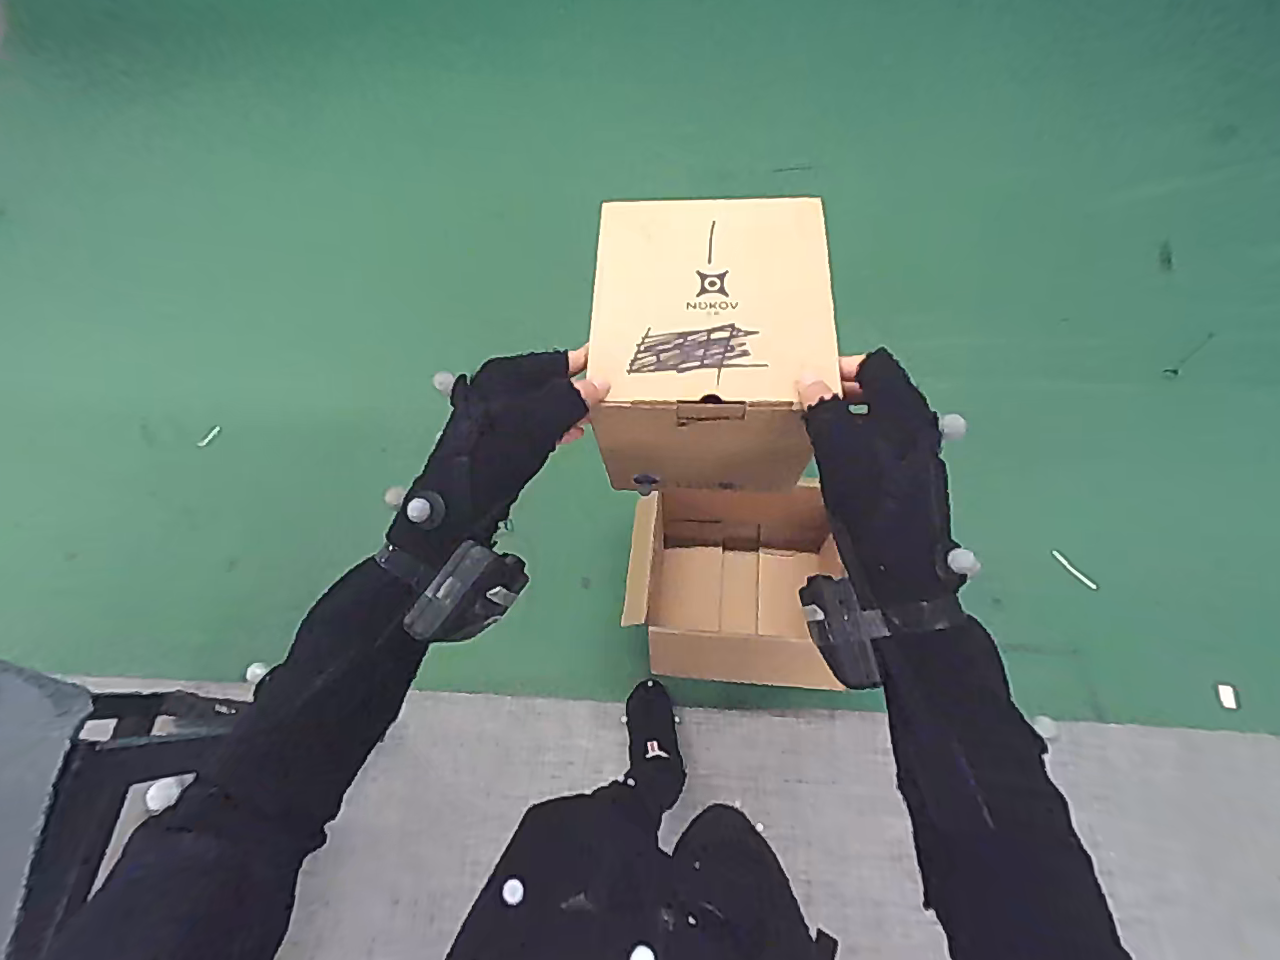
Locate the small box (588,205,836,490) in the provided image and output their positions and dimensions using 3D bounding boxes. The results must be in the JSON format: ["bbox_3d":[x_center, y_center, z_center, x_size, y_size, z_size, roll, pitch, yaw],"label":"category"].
[{"bbox_3d":[0.057,-0.098,0.457,0.168,0.176,0.179,1,68,5],"label":"small box"}]
